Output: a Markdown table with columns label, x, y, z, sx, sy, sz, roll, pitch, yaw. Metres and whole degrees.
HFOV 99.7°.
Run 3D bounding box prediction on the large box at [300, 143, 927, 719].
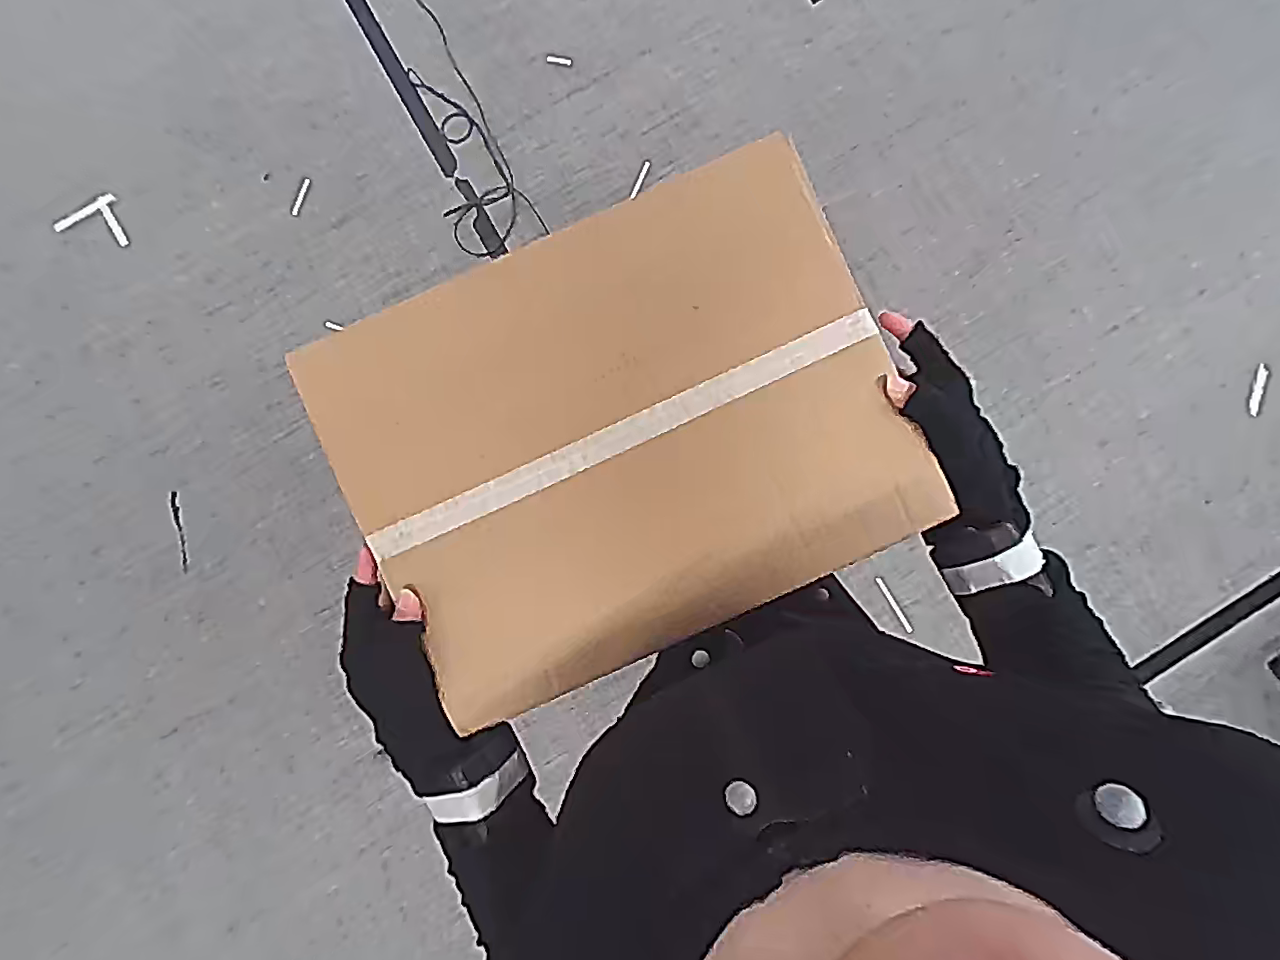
| label | x | y | z | sx | sy | sz | roll | pitch | yaw |
| --- | --- | --- | --- | --- | --- | --- | --- | --- | --- |
| large box | -0.018 | -0.040 | 0.560 | 0.408 | 0.320 | 0.320 | -24 | 90 | 0 |
